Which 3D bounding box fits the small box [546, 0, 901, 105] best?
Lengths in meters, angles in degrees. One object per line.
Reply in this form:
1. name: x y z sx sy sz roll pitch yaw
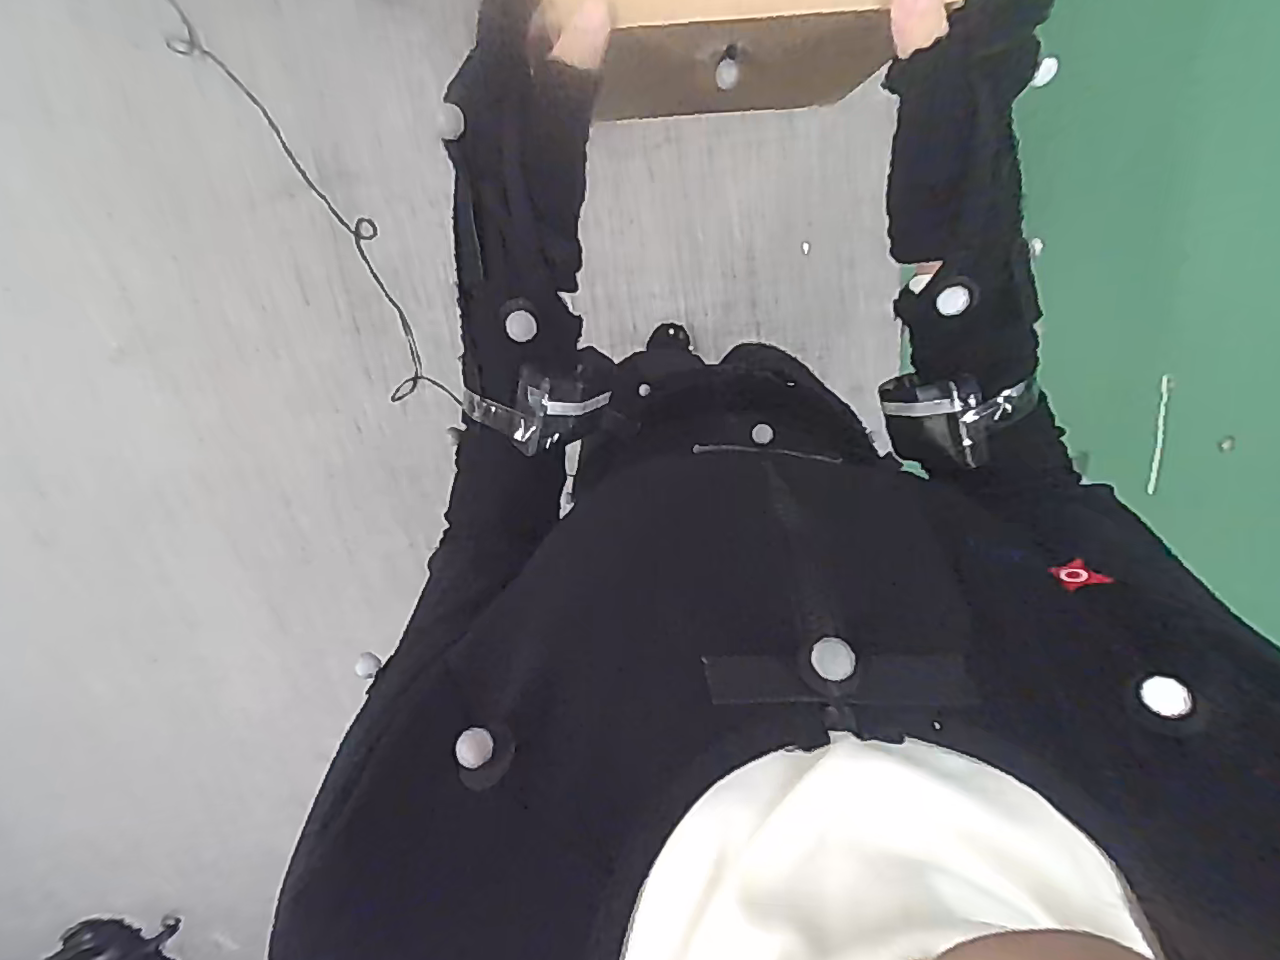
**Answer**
1. small box: 0.041 -0.311 0.274 0.179 0.176 0.168 -3 112 1
